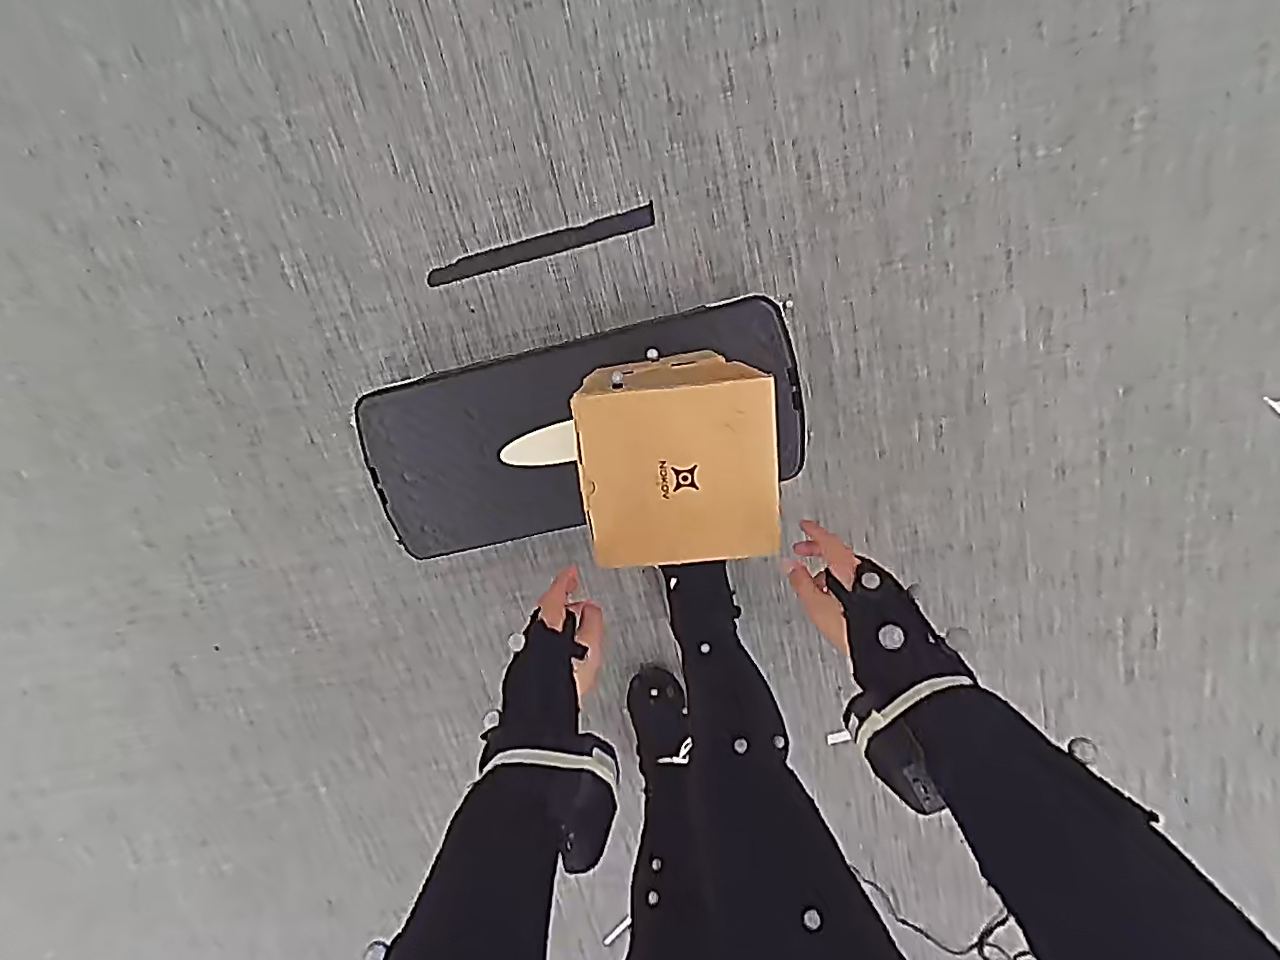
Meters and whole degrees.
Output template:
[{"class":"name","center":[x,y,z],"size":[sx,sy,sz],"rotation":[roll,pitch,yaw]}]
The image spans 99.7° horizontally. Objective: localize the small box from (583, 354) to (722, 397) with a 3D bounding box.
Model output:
[{"class":"small box","center":[0.029,-0.063,0.712],"size":[0.168,0.176,0.179],"rotation":[-9,105,3]}]

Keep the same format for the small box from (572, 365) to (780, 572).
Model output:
[{"class":"small box","center":[0.036,-0.022,0.554],"size":[0.179,0.176,0.168],"rotation":[-5,106,4]}]
